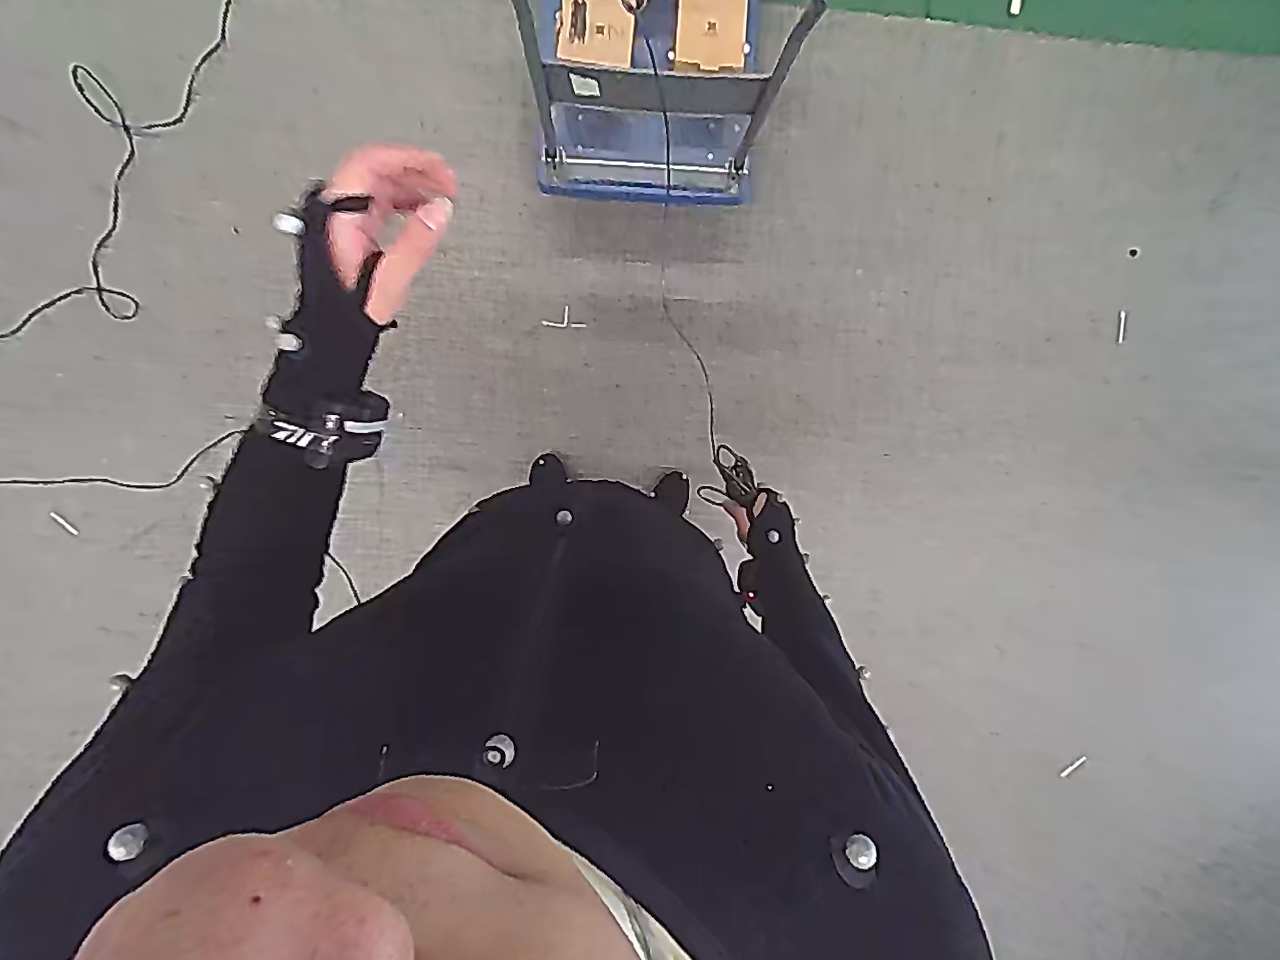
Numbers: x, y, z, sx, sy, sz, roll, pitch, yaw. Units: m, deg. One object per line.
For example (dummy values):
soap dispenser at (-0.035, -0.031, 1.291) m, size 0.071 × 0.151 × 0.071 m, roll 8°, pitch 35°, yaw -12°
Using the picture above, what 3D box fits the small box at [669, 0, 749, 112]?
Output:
small box at (0.165, -1.065, 1.345) m, size 0.168 × 0.176 × 0.179 m, roll 3°, pitch 93°, yaw -3°
